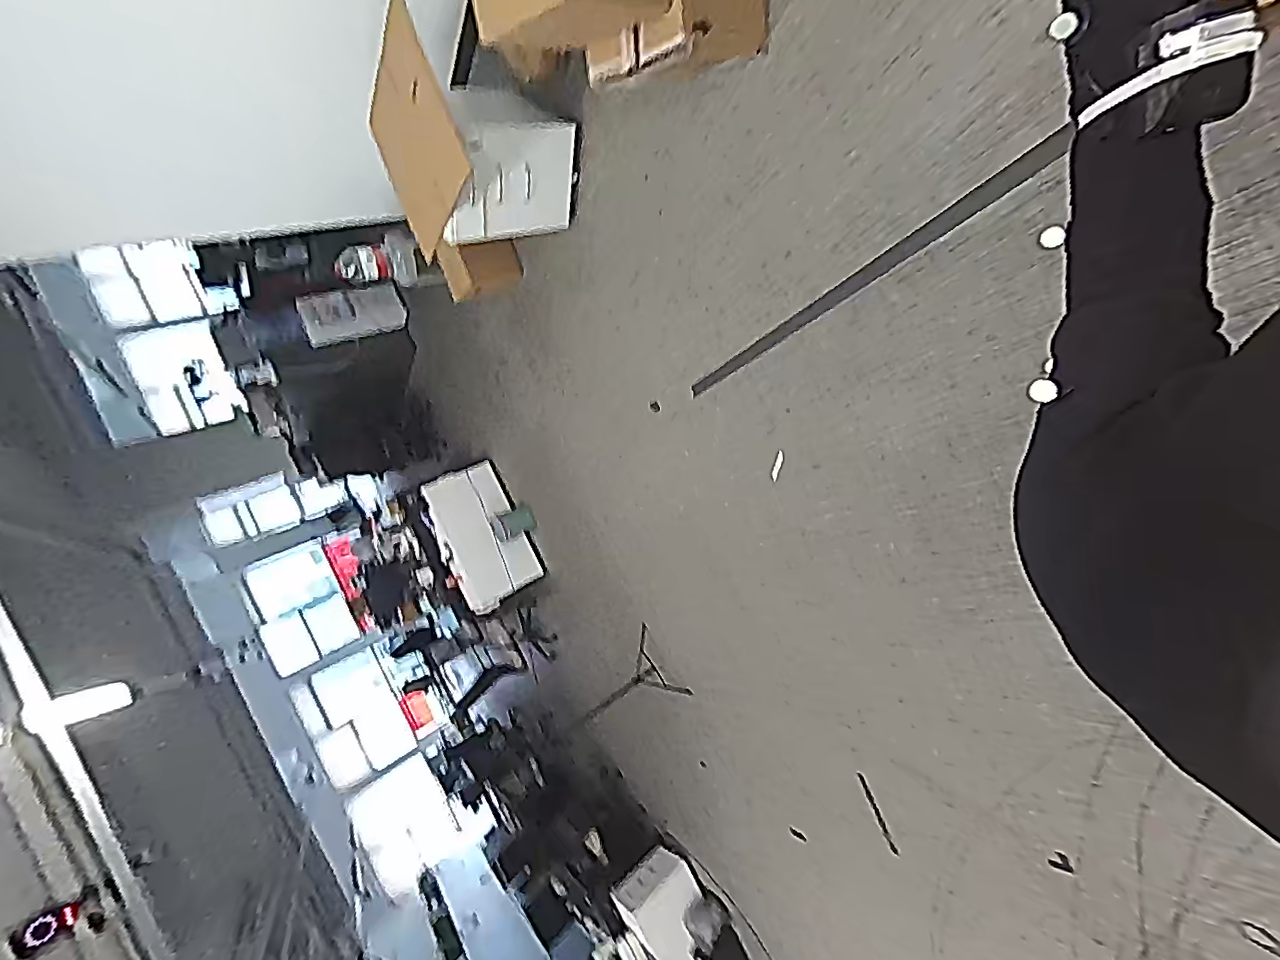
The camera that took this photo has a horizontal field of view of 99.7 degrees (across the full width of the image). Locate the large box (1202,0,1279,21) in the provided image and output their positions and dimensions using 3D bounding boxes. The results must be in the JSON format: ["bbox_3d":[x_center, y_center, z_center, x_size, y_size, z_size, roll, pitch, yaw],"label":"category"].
[{"bbox_3d":[0.540,-0.498,0.229,0.408,0.320,0.320,2,117,58],"label":"large box"}]
